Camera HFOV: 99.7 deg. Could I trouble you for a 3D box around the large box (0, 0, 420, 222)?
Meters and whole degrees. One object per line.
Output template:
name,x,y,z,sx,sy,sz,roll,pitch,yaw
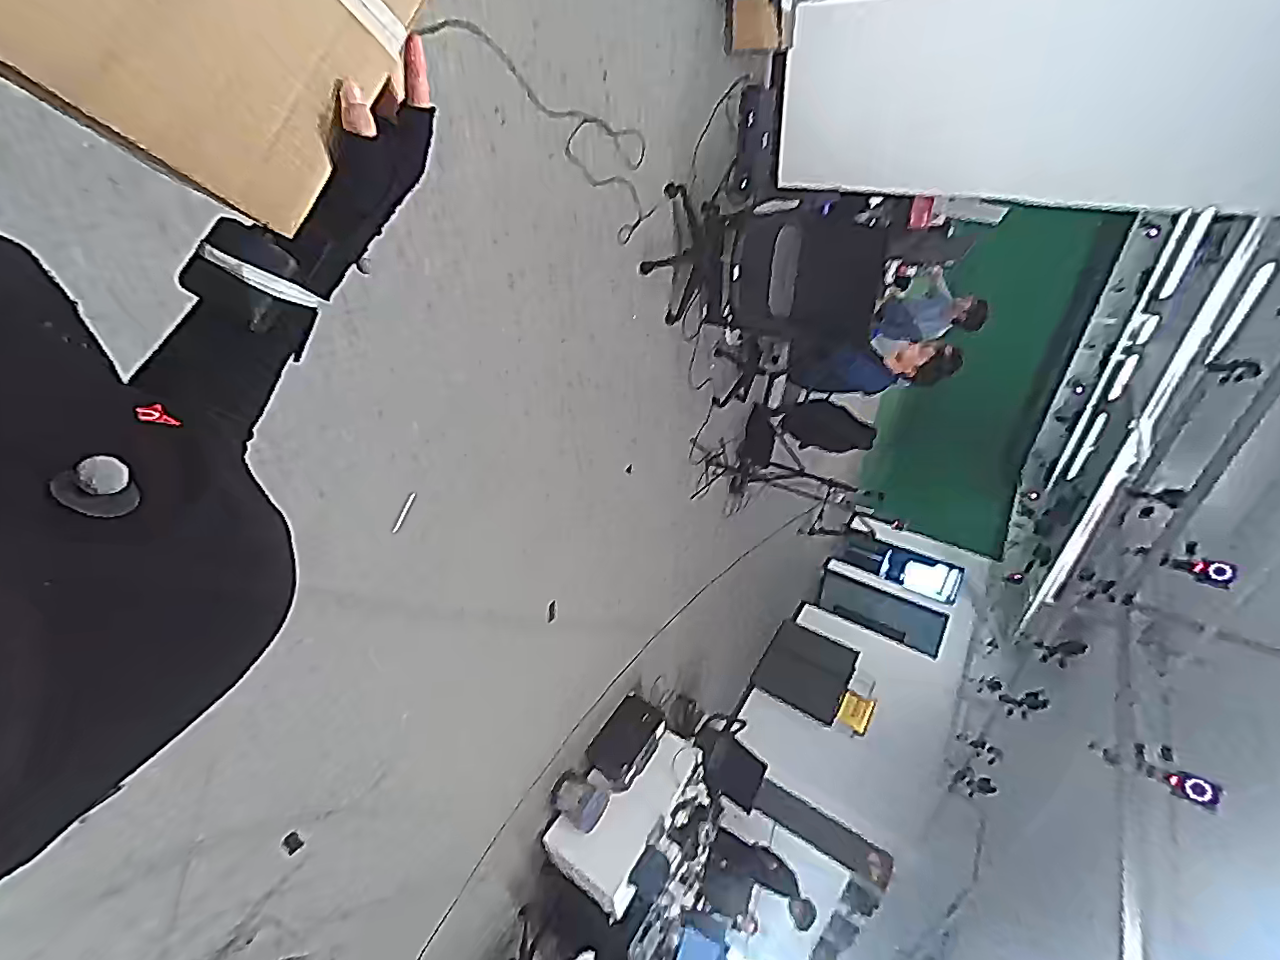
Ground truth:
large box,-0.383,-0.429,0.309,0.320,0.320,0.408,-59,146,2
